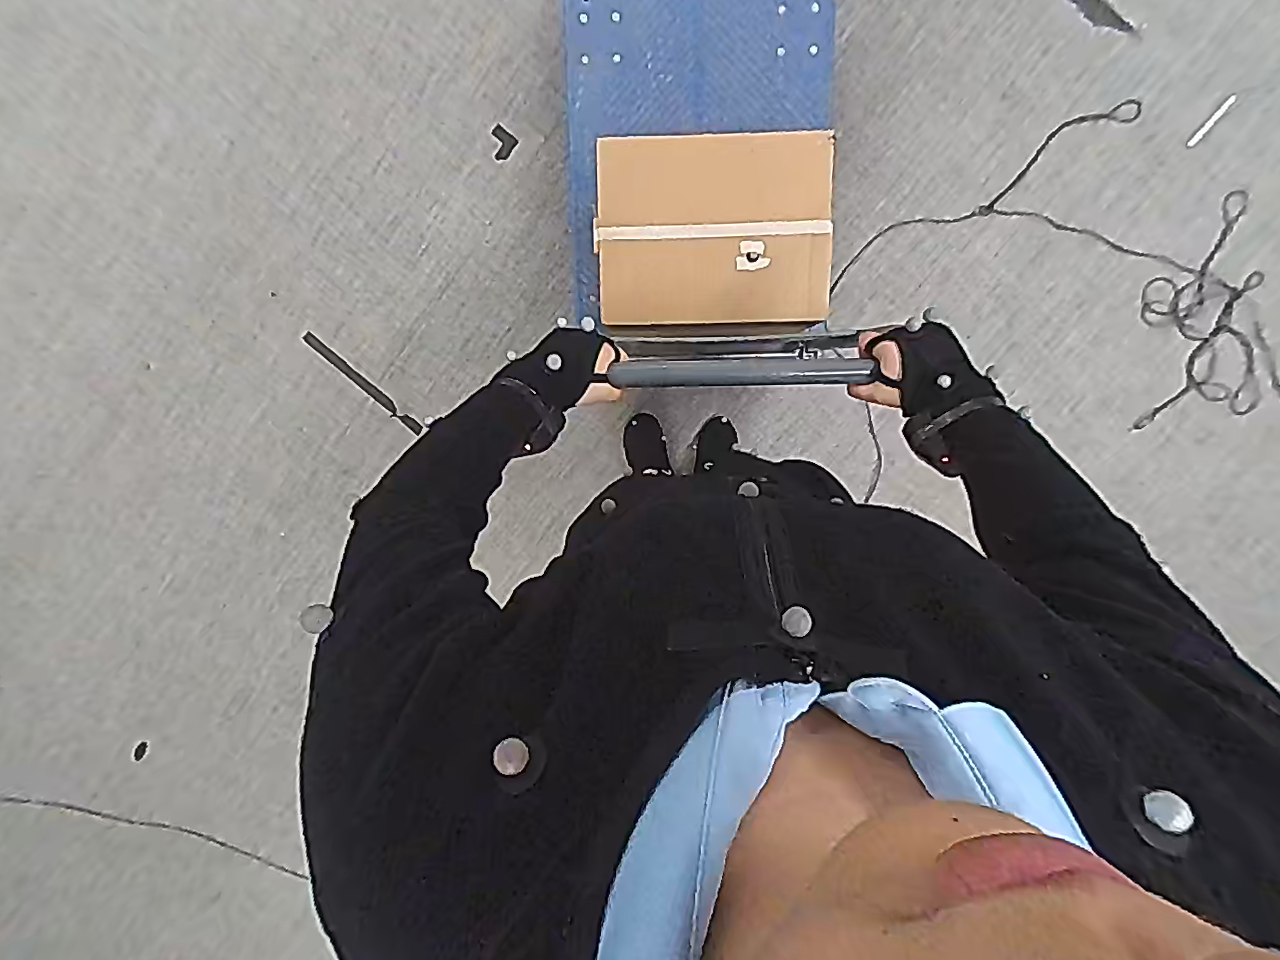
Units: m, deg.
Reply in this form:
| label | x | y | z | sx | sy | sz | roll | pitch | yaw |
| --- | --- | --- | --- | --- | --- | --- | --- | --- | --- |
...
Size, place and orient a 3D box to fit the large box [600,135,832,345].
| label | x | y | z | sx | sy | sz | roll | pitch | yaw |
| --- | --- | --- | --- | --- | --- | --- | --- | --- | --- |
| large box | 0.135 | -0.452 | 1.093 | 0.408 | 0.320 | 0.320 | -1 | 100 | 1 |
